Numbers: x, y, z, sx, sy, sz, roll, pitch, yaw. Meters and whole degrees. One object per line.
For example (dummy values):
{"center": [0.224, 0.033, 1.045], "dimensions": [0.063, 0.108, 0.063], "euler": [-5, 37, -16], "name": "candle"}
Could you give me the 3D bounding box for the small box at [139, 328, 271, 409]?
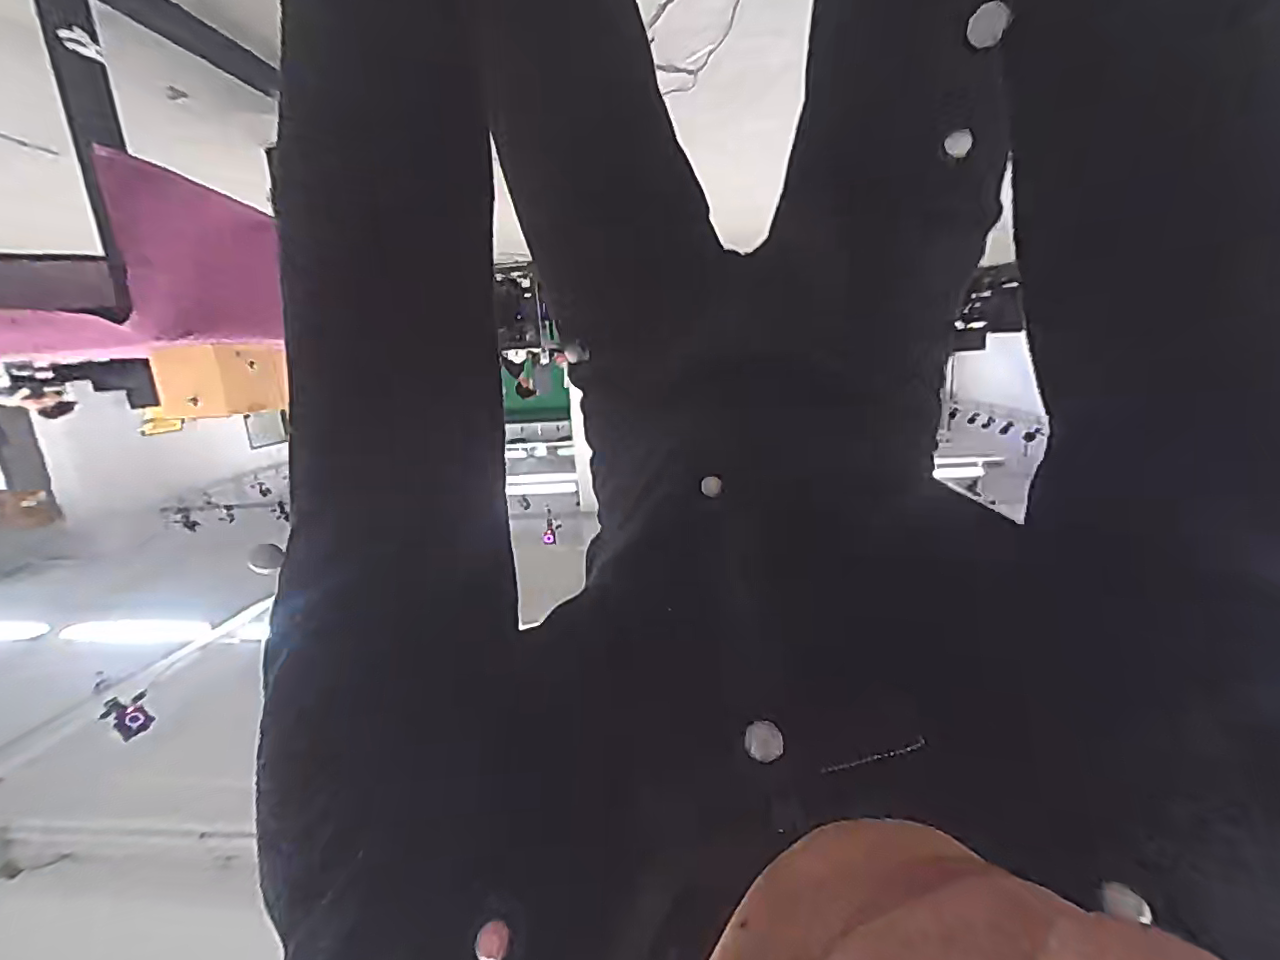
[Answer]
{"center": [-1.030, -0.265, 1.282], "dimensions": [0.179, 0.176, 0.168], "euler": [-2, -165, 8], "name": "small box"}
